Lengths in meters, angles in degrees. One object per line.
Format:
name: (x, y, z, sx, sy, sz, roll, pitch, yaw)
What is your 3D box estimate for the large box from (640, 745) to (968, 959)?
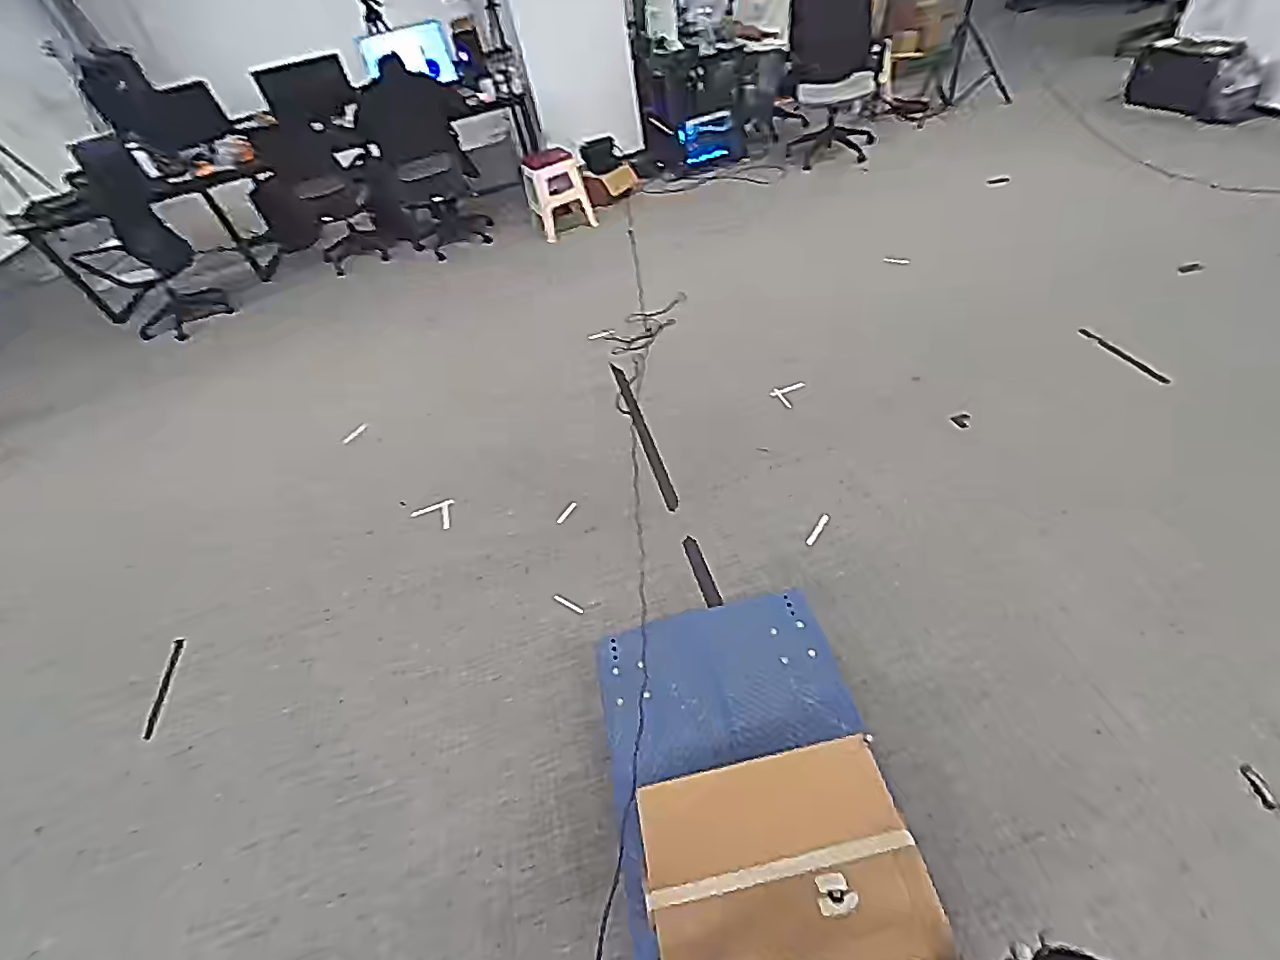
large box: (0.241, 0.700, 0.899, 0.408, 0.320, 0.320, -14, 45, 0)
